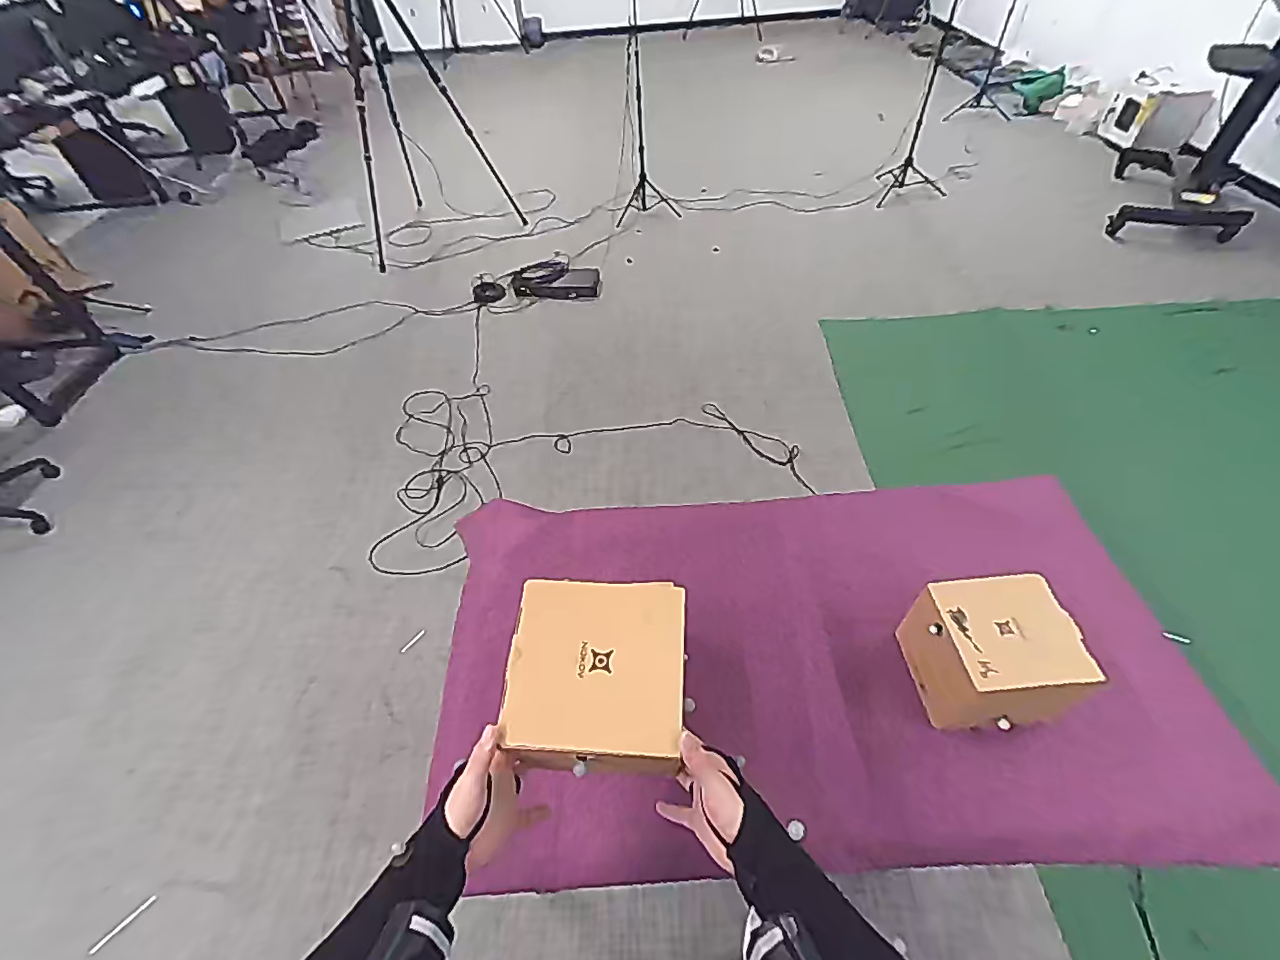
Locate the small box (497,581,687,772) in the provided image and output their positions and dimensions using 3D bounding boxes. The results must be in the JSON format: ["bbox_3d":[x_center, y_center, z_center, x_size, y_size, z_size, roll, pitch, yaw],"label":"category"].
[{"bbox_3d":[-0.039,0.226,0.609,0.179,0.176,0.168,1,57,5],"label":"small box"}]

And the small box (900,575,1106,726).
[{"bbox_3d":[0.531,0.262,0.824,0.179,0.176,0.168,-5,49,1],"label":"small box"}]
